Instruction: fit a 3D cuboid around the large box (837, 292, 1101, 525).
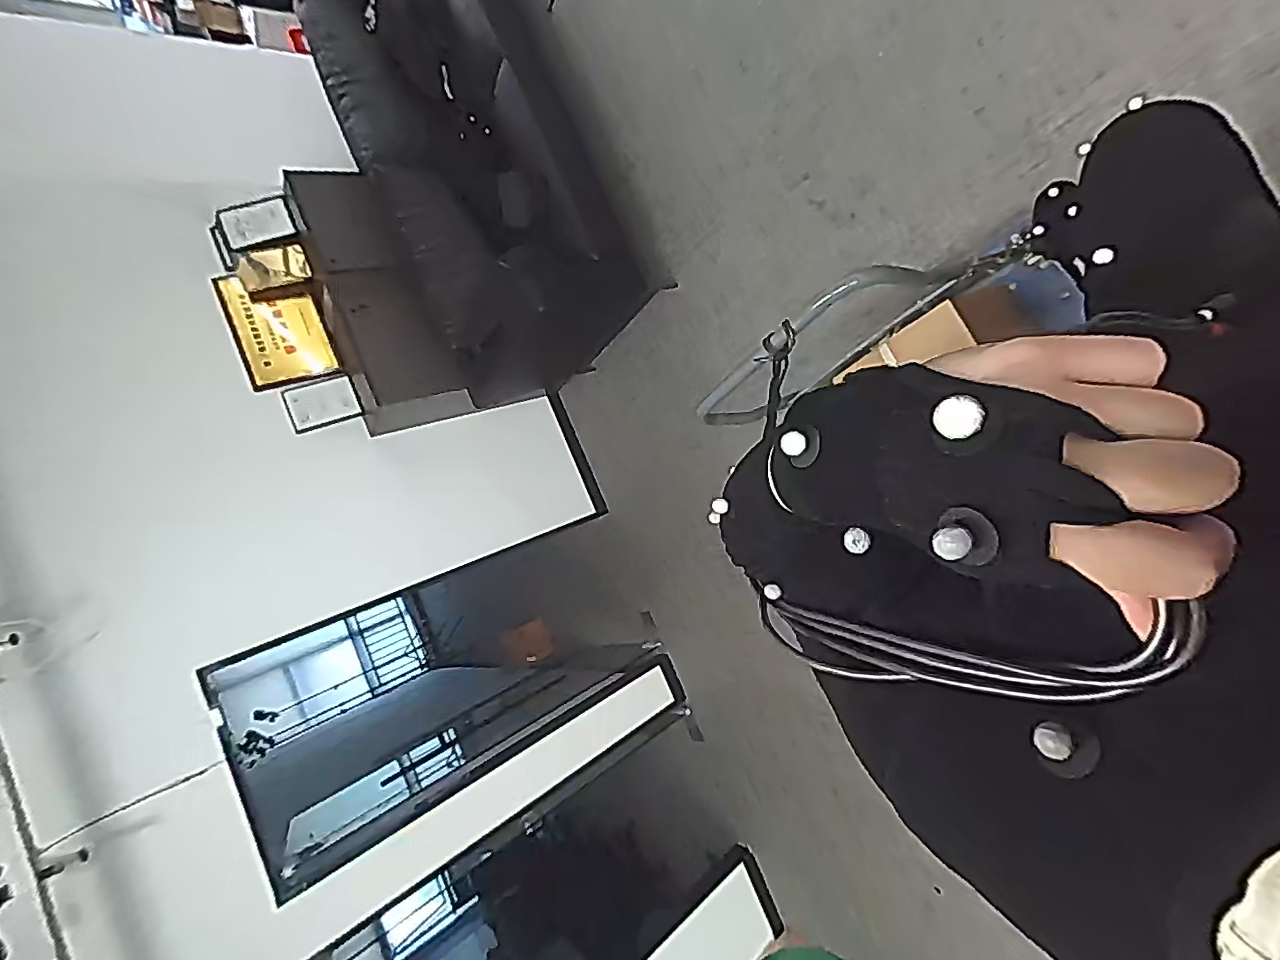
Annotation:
[{"bbox_3d":[0.748,-0.168,1.248,0.320,0.320,0.408,-38,75,53],"label":"large box"}]
